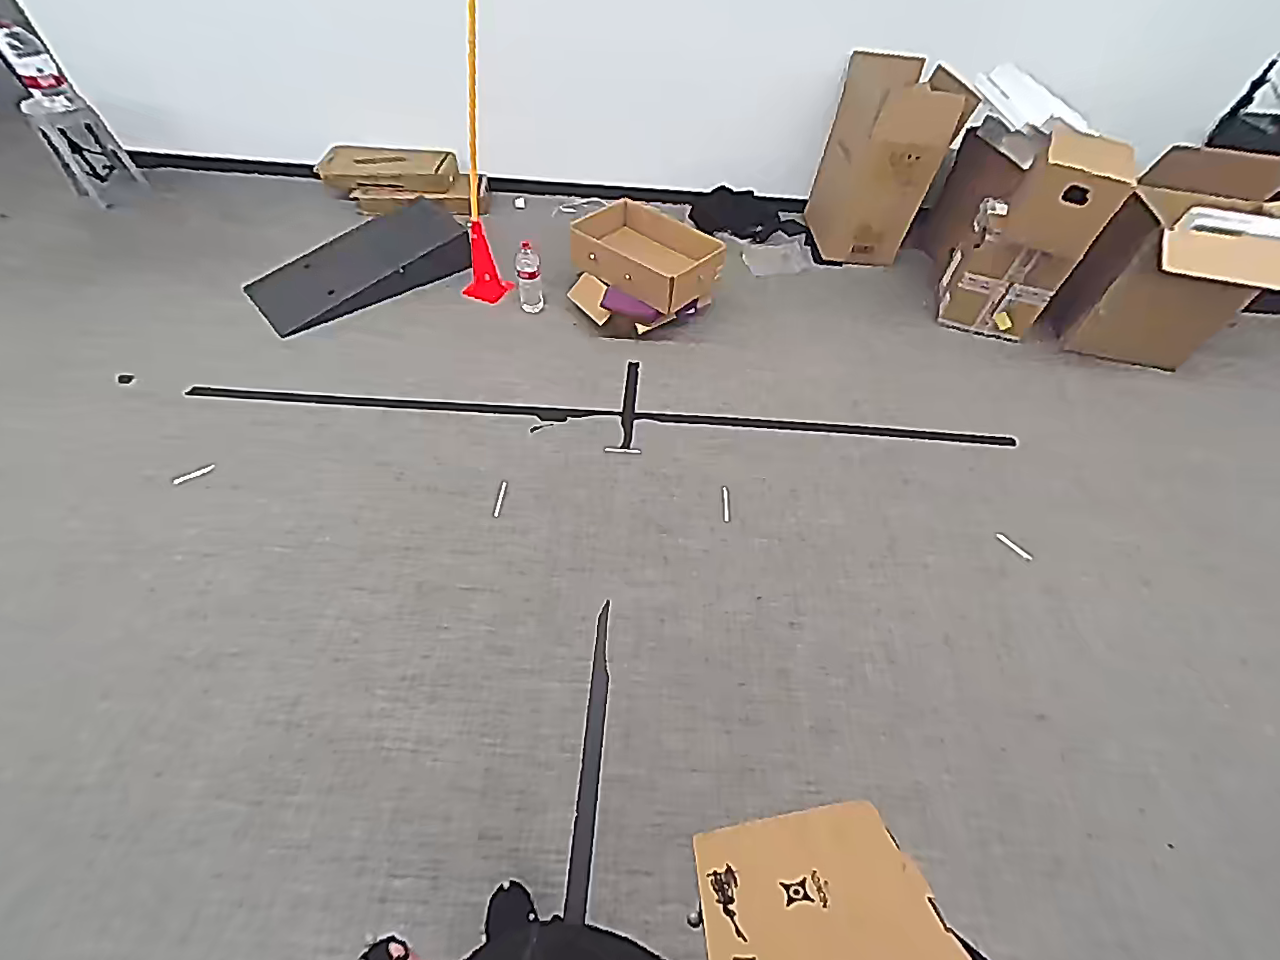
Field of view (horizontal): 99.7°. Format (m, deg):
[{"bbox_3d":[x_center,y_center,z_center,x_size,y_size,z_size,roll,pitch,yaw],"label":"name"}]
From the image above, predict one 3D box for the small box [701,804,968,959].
[{"bbox_3d":[0.158,0.419,0.456,0.179,0.168,0.176,-11,95,1],"label":"small box"}]
